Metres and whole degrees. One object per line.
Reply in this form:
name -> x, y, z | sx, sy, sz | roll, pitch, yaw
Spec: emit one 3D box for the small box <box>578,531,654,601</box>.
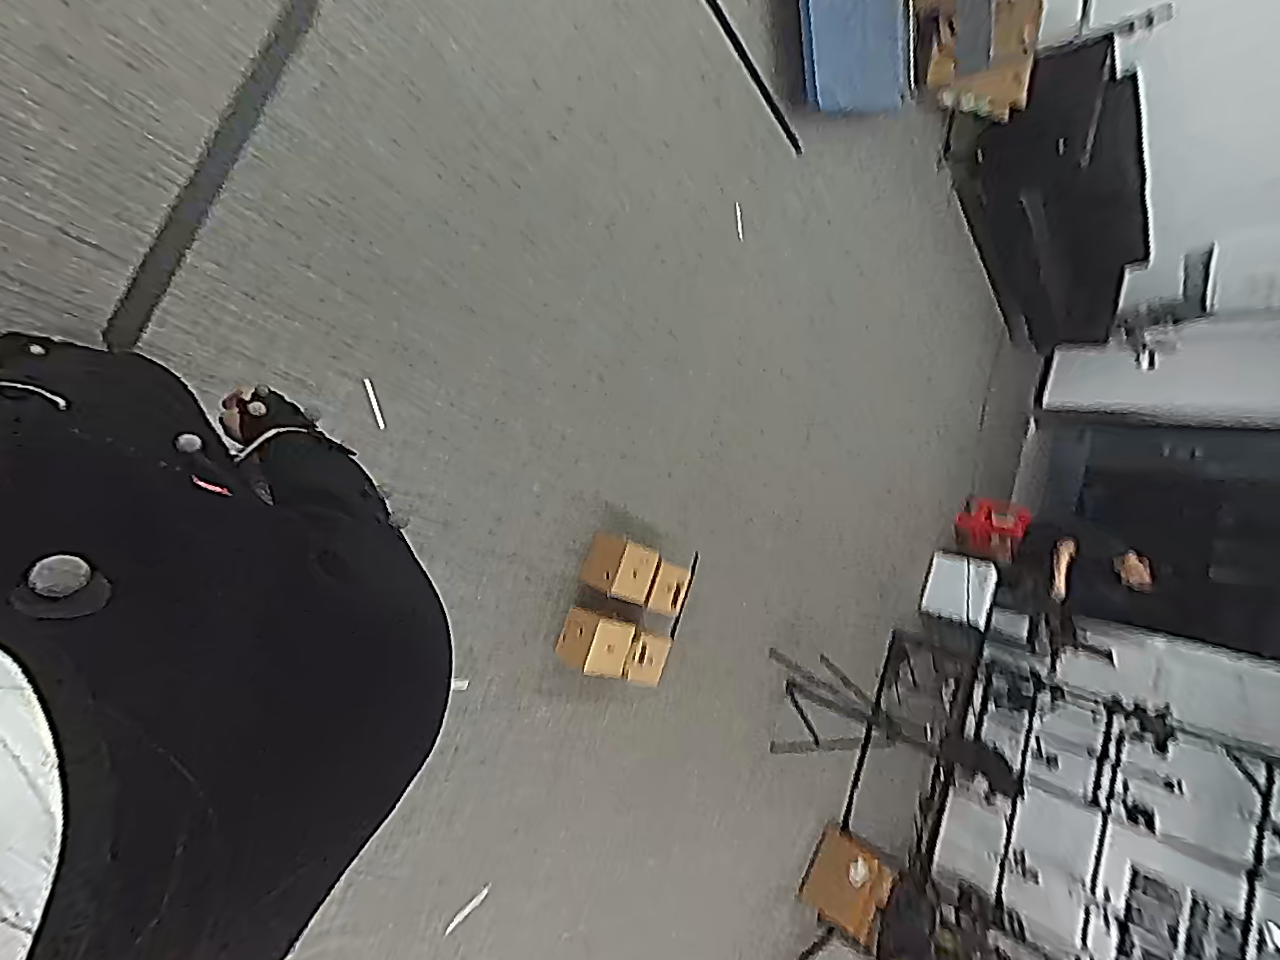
small box -> -0.086, 0.289, 1.834 | 0.168, 0.176, 0.179 | 27, 78, -44
